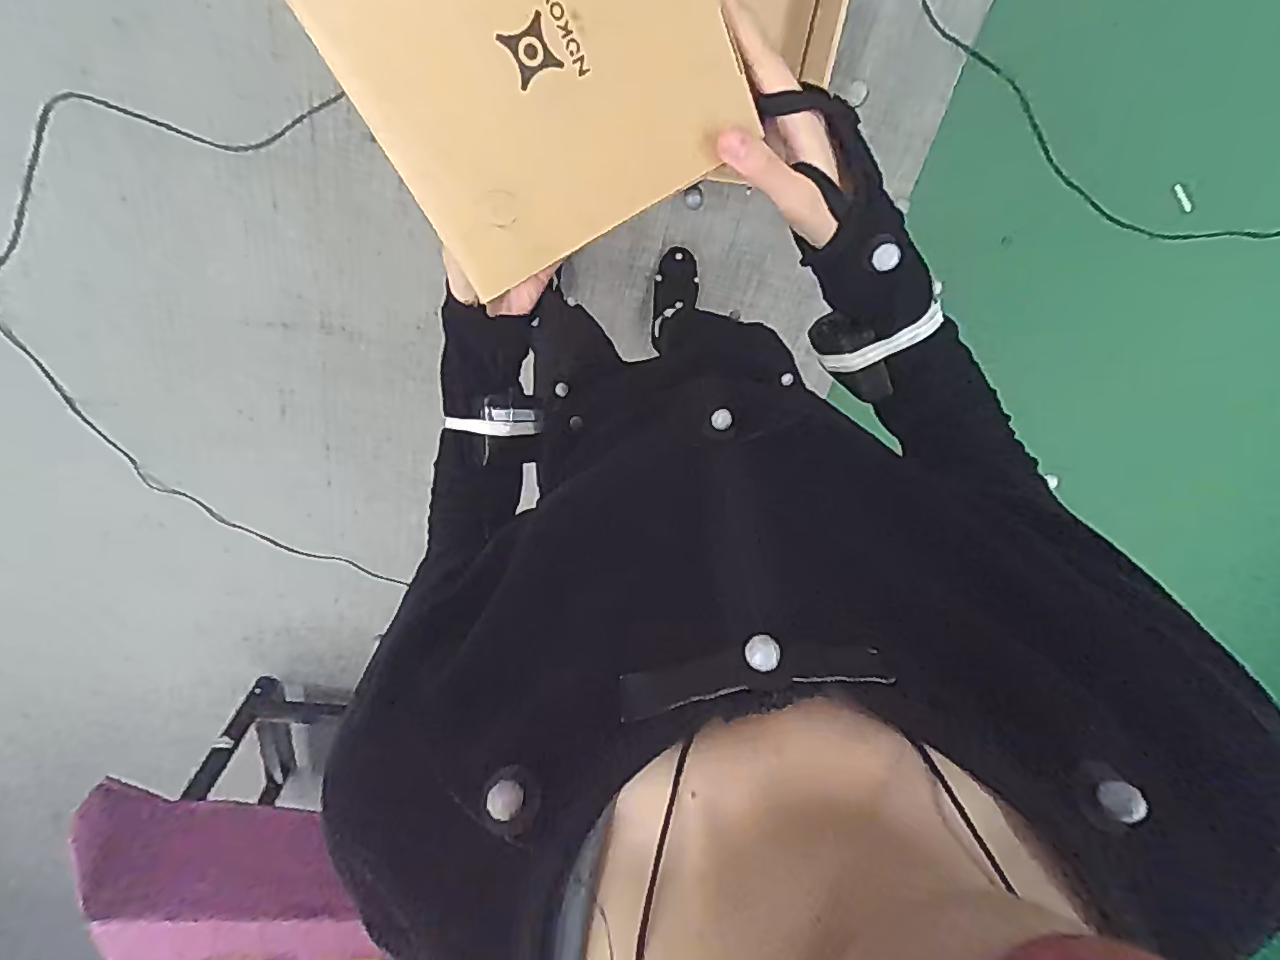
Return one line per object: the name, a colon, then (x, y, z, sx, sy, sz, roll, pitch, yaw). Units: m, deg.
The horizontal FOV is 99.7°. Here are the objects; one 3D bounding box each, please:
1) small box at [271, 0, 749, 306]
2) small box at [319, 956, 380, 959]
small box: (-0.066, -0.229, 0.329, 0.179, 0.176, 0.168, -31, 117, 2)
small box: (-0.793, 1.408, 1.439, 0.168, 0.176, 0.179, 2, 119, -6)
